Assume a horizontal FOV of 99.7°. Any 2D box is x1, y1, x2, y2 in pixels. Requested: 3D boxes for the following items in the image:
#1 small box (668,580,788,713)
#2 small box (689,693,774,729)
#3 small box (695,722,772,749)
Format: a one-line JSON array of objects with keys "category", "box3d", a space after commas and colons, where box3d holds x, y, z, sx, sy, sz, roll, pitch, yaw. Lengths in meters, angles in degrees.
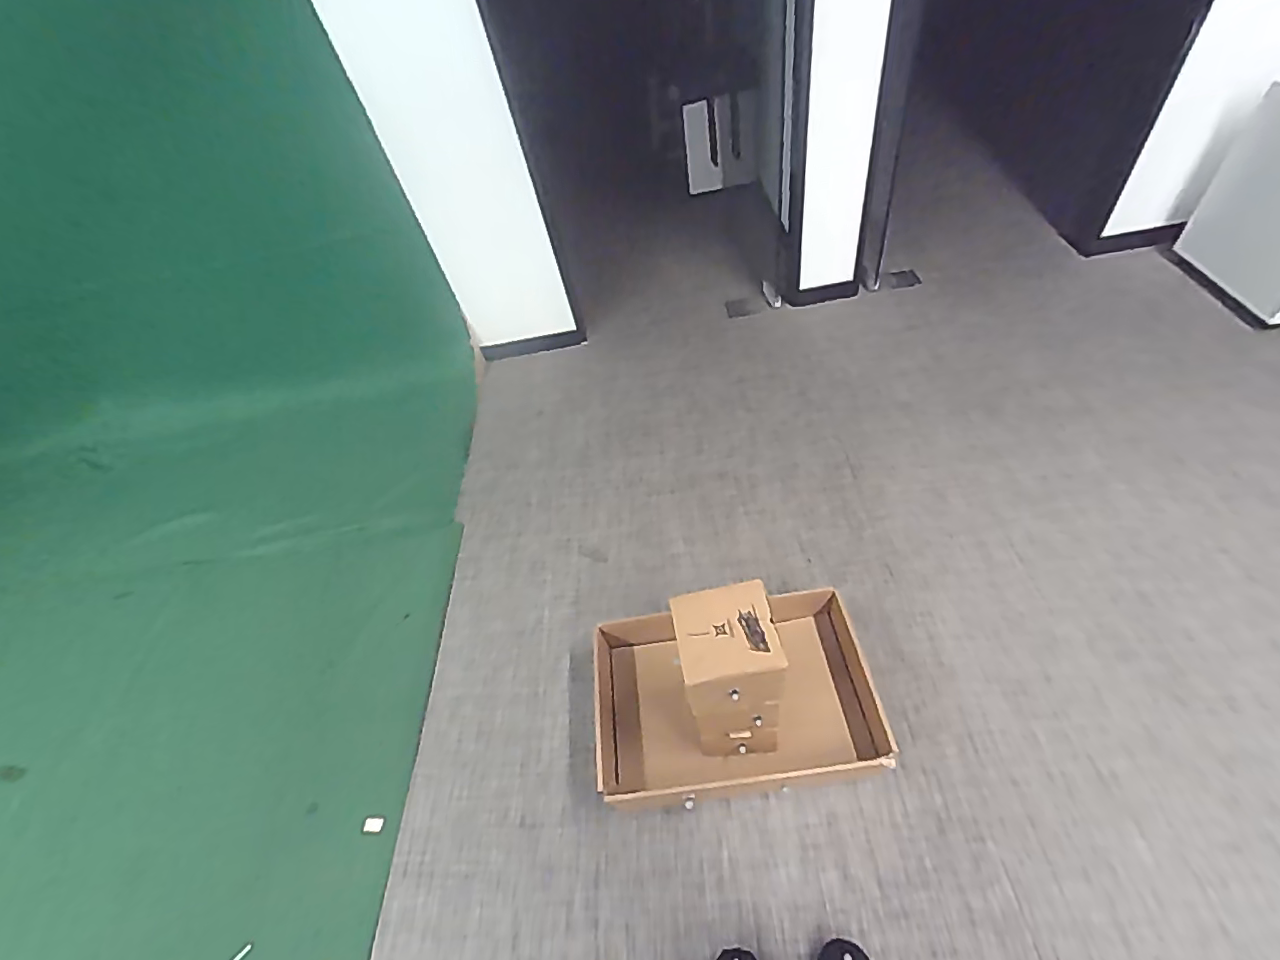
[{"category": "small box", "box3d": [0.158, 0.313, 1.005, 0.179, 0.176, 0.168, -13, 50, 0]}, {"category": "small box", "box3d": [0.184, 0.410, 1.134, 0.168, 0.176, 0.179, -8, 49, 5]}, {"category": "small box", "box3d": [0.212, 0.514, 1.255, 0.168, 0.176, 0.179, -8, 50, 7]}]
